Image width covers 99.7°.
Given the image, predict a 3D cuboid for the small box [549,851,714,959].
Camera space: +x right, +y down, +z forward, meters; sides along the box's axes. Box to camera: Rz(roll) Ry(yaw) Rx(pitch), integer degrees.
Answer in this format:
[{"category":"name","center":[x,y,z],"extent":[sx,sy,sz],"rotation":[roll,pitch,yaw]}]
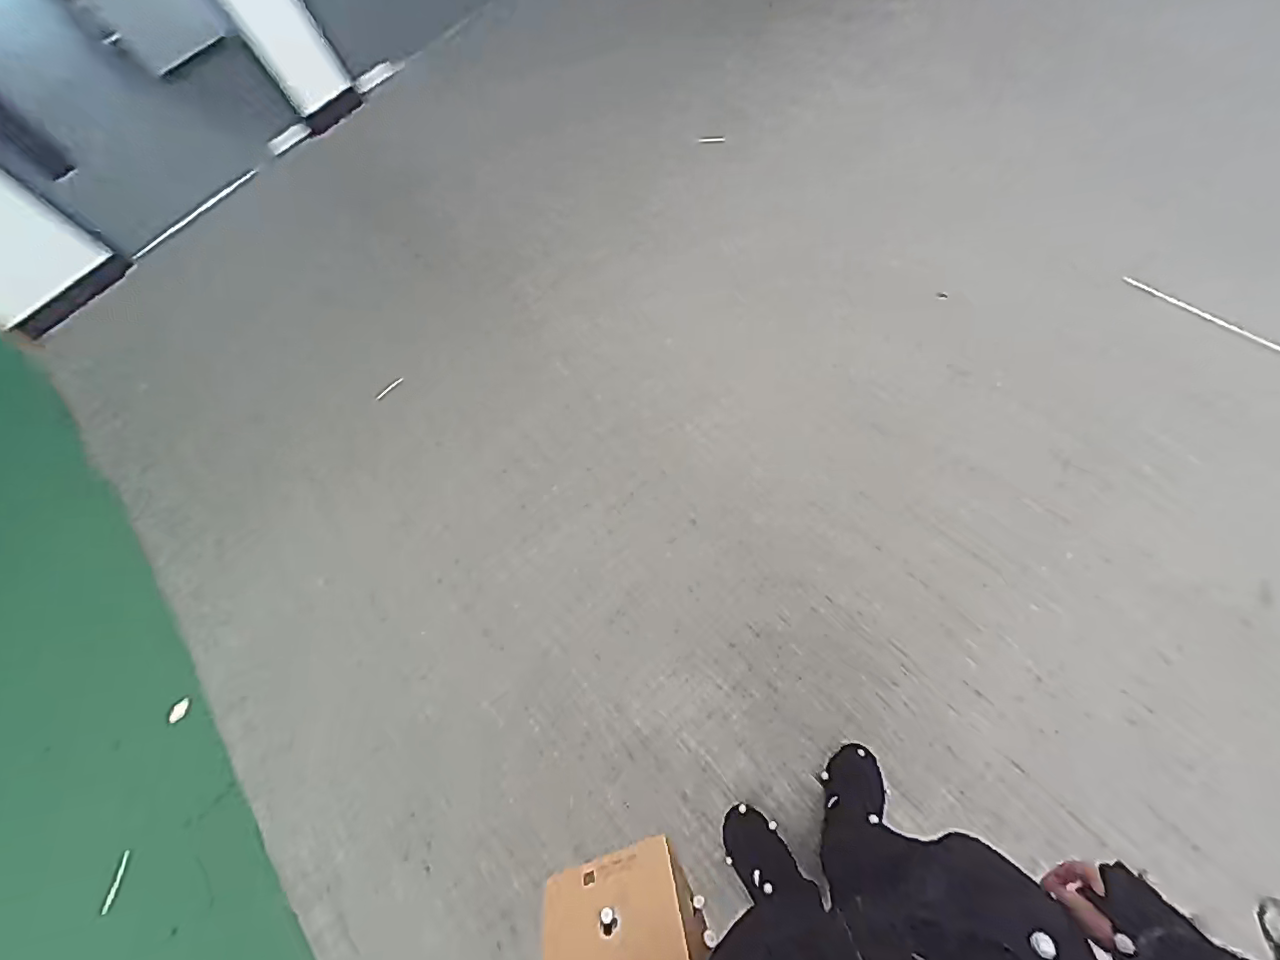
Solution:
[{"category":"small box","center":[-0.003,0.577,0.634],"extent":[0.168,0.179,0.176],"rotation":[-21,20,-2]}]
